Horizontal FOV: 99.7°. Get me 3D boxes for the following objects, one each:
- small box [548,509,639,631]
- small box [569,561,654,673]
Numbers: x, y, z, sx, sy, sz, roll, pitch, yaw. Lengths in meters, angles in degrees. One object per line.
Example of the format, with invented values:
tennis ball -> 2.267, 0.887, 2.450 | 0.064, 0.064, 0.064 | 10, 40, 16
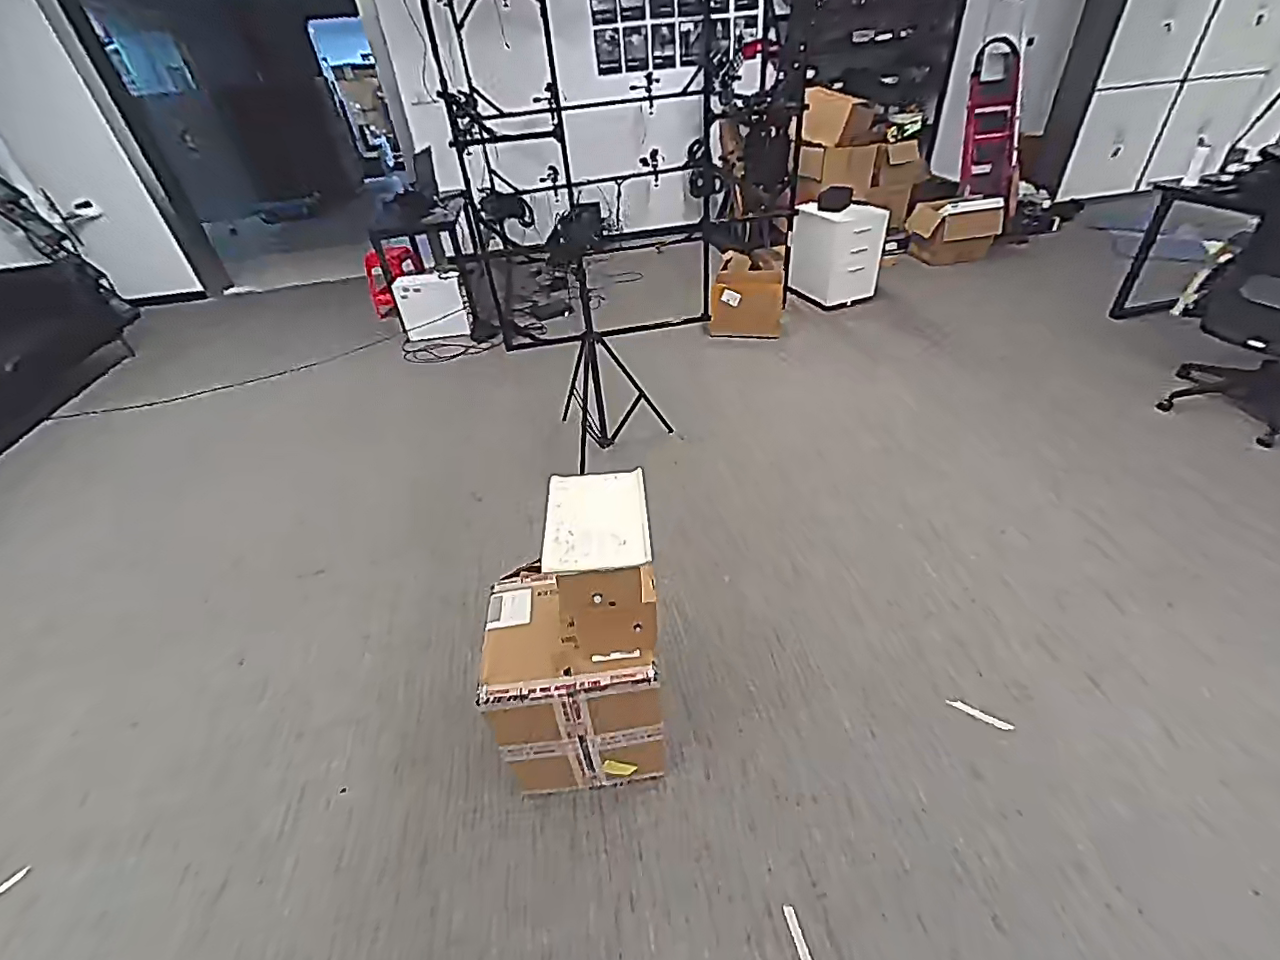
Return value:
small box -> -0.089, 0.181, 1.094 | 0.168, 0.176, 0.179 | -4, 40, -2
small box -> -0.064, 0.305, 1.201 | 0.179, 0.176, 0.168 | -7, 39, -4
